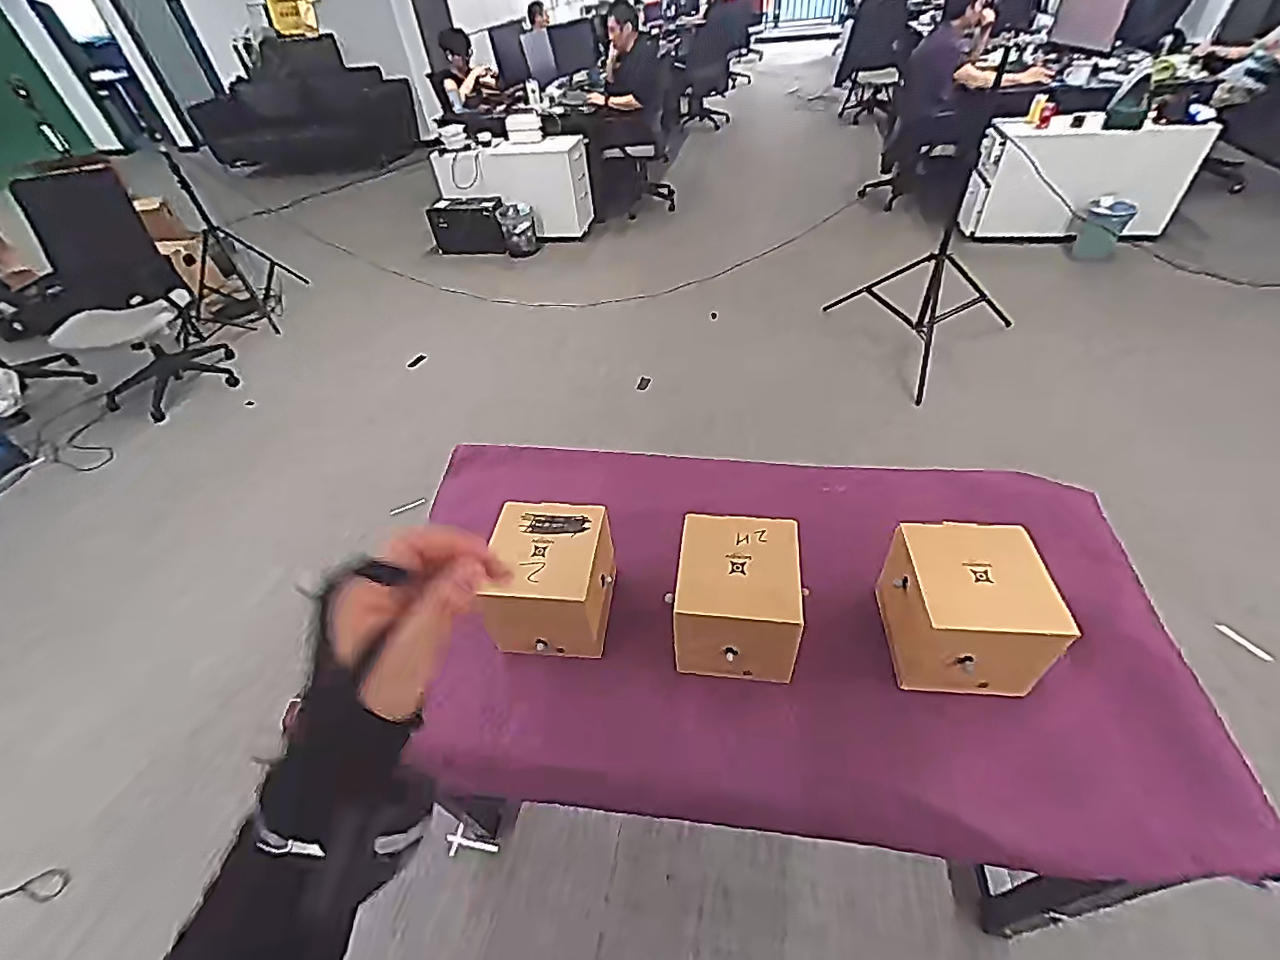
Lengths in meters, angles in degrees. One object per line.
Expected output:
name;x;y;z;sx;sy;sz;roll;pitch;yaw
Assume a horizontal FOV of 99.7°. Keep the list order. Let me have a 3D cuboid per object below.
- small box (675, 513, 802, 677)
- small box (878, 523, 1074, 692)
small box;0.145;0.172;0.806;0.168;0.176;0.179;4;45;9
small box;0.452;0.180;0.764;0.168;0.176;0.179;0;43;8
